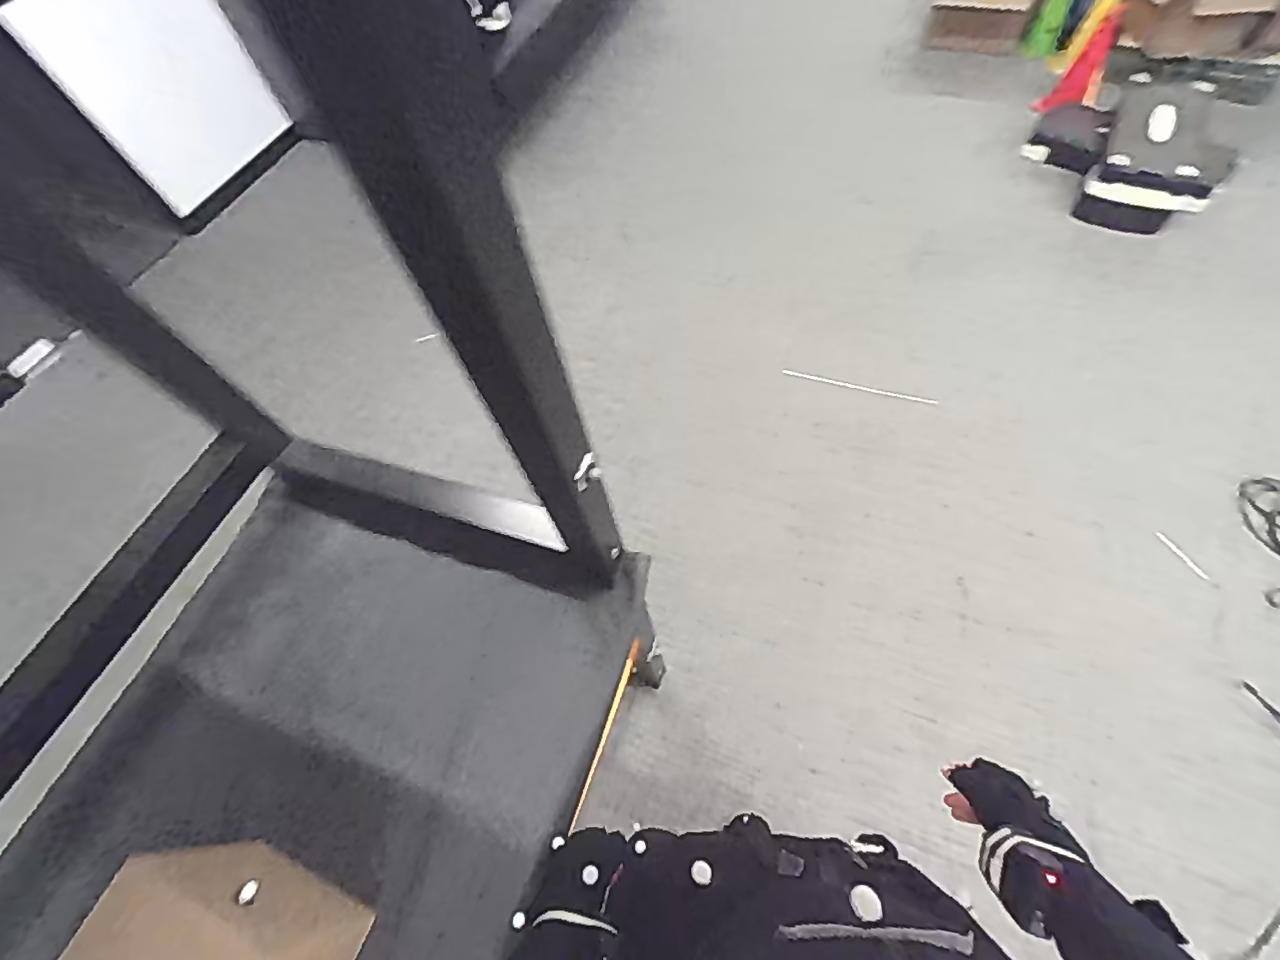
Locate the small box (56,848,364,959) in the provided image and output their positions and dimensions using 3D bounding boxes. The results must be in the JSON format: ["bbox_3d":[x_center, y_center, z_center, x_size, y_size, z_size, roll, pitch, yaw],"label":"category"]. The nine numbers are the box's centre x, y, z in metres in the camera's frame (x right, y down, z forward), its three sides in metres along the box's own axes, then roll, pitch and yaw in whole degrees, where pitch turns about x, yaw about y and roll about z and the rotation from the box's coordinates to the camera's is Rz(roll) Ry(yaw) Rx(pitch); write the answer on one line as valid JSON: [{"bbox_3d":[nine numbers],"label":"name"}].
[{"bbox_3d":[-0.402,0.467,0.498,0.179,0.176,0.168,16,63,16],"label":"small box"}]
